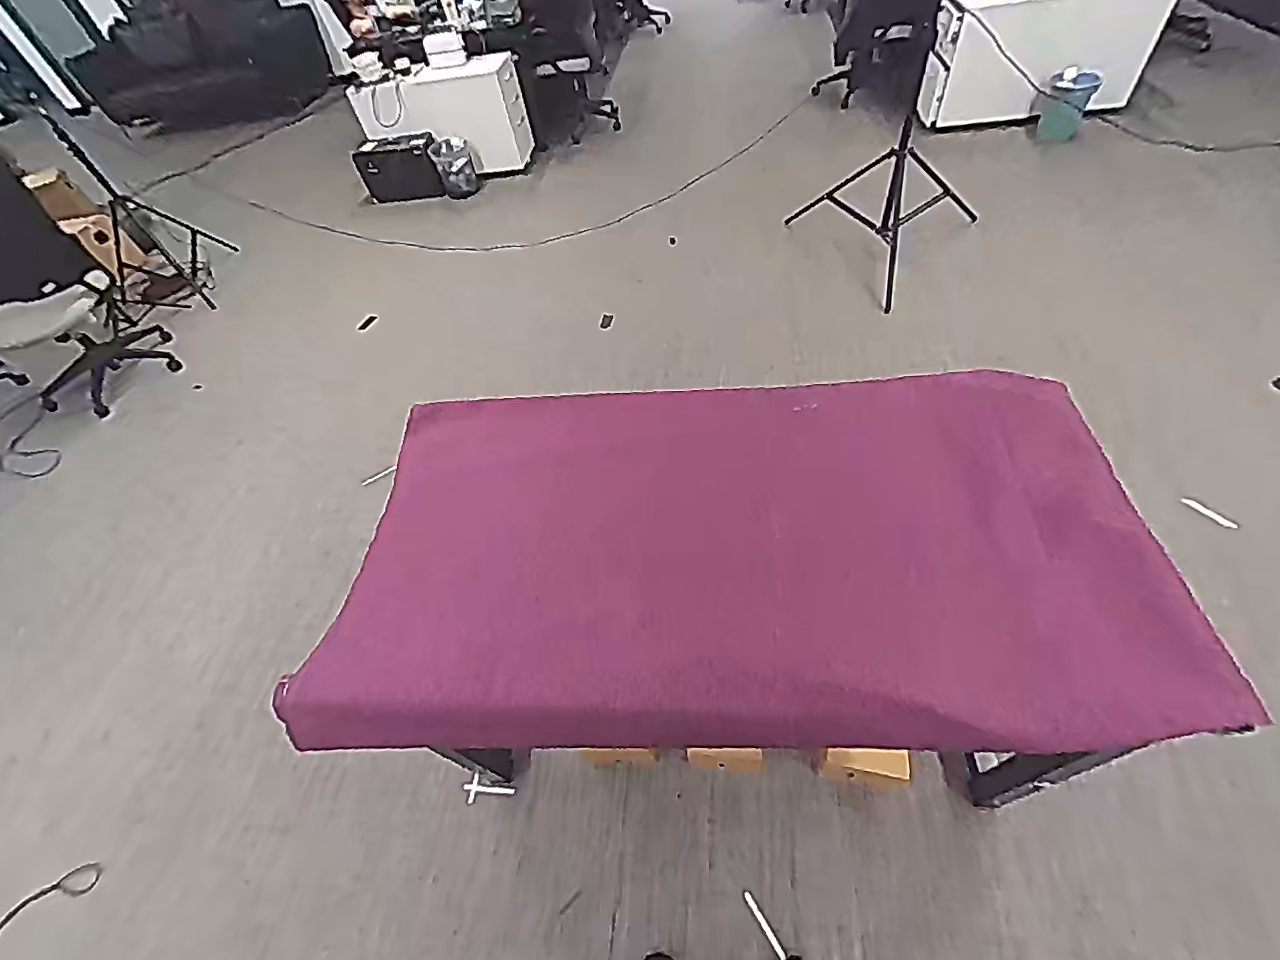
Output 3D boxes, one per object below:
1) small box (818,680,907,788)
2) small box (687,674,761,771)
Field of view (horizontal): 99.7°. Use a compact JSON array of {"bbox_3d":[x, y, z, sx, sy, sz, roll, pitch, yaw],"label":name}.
[{"bbox_3d":[0.510,0.592,1.252,0.168,0.176,0.179,6,52,15],"label":"small box"},{"bbox_3d":[0.206,0.588,1.305,0.168,0.176,0.179,1,51,10],"label":"small box"}]
